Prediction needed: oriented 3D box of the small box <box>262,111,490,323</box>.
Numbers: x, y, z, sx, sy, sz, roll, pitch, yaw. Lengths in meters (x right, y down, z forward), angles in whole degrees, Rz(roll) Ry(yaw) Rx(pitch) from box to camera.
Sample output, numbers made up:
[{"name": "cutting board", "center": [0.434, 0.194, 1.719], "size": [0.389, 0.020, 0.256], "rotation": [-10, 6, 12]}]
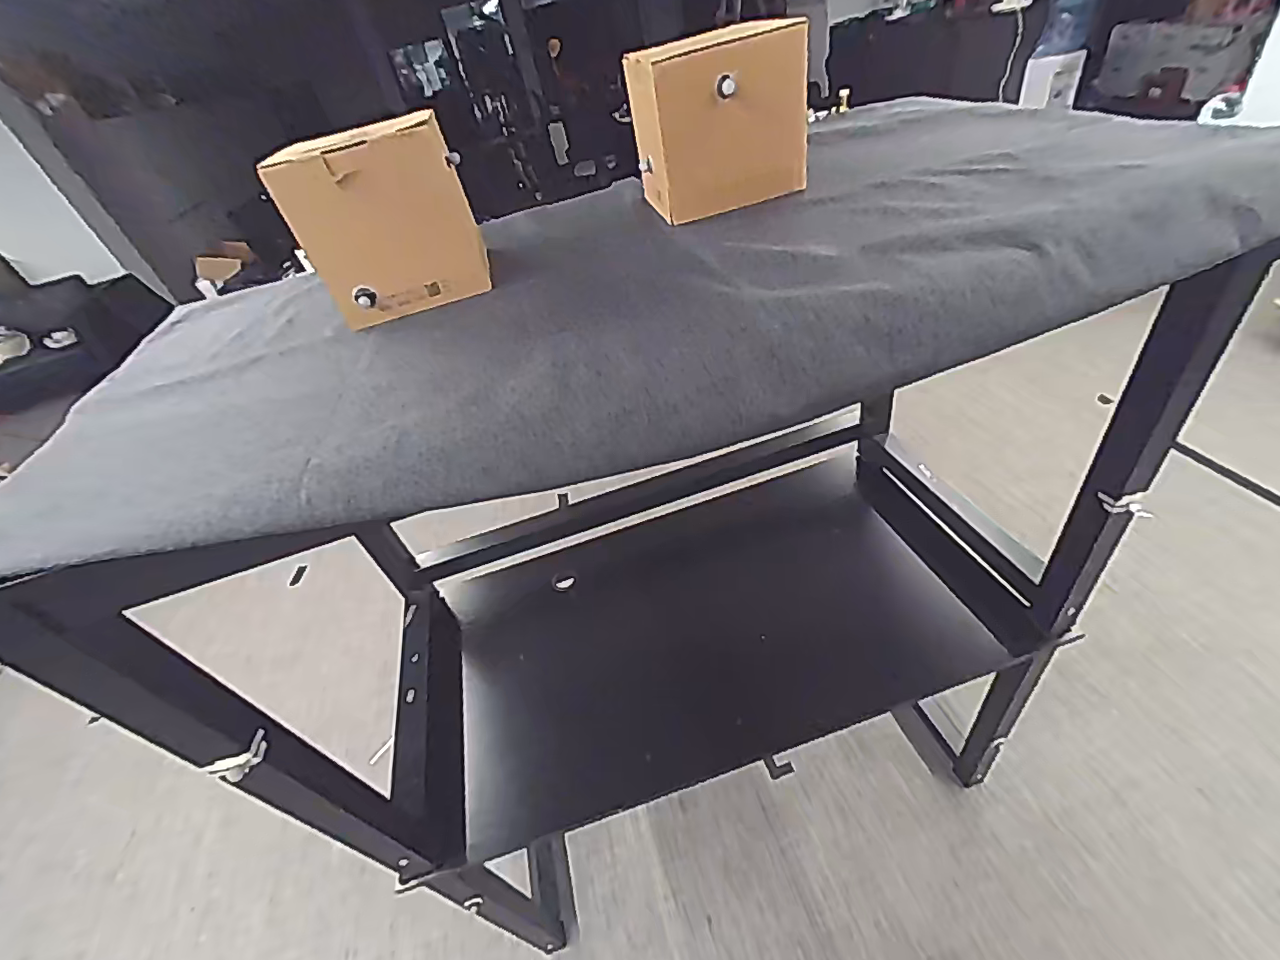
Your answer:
[{"name": "small box", "center": [-0.283, -0.300, 0.625], "size": [0.168, 0.176, 0.179], "rotation": [-18, 40, -4]}]

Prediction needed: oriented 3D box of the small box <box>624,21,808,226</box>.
[{"name": "small box", "center": [0.093, -0.443, 0.674], "size": [0.179, 0.176, 0.168], "rotation": [-17, 40, -1]}]
